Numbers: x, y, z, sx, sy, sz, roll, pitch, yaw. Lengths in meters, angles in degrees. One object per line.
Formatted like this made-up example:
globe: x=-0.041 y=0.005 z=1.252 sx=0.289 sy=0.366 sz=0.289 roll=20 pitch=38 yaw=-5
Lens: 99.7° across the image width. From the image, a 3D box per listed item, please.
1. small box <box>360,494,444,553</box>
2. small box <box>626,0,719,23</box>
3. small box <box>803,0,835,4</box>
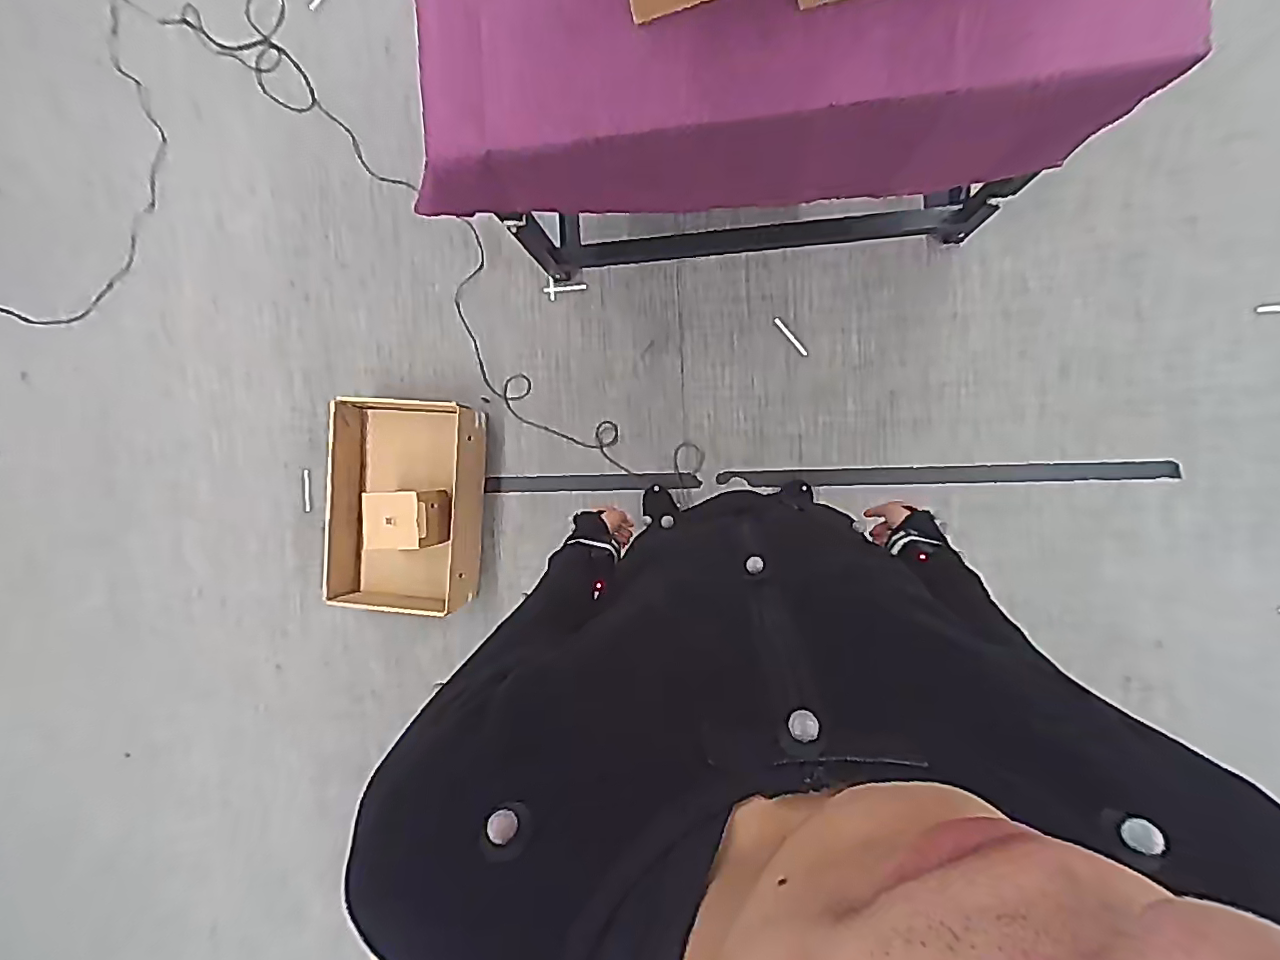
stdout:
small box: x=-0.701 y=0.126 z=1.611 sx=0.179 sy=0.176 sz=0.168 roll=-2 pitch=90 yaw=7
small box: x=0.044 y=-0.841 z=0.806 sx=0.179 sy=0.176 sz=0.168 roll=-12 pitch=90 yaw=7
small box: x=0.308 y=-0.836 z=0.773 sx=0.168 sy=0.176 sz=0.179 roll=-8 pitch=89 yaw=7
